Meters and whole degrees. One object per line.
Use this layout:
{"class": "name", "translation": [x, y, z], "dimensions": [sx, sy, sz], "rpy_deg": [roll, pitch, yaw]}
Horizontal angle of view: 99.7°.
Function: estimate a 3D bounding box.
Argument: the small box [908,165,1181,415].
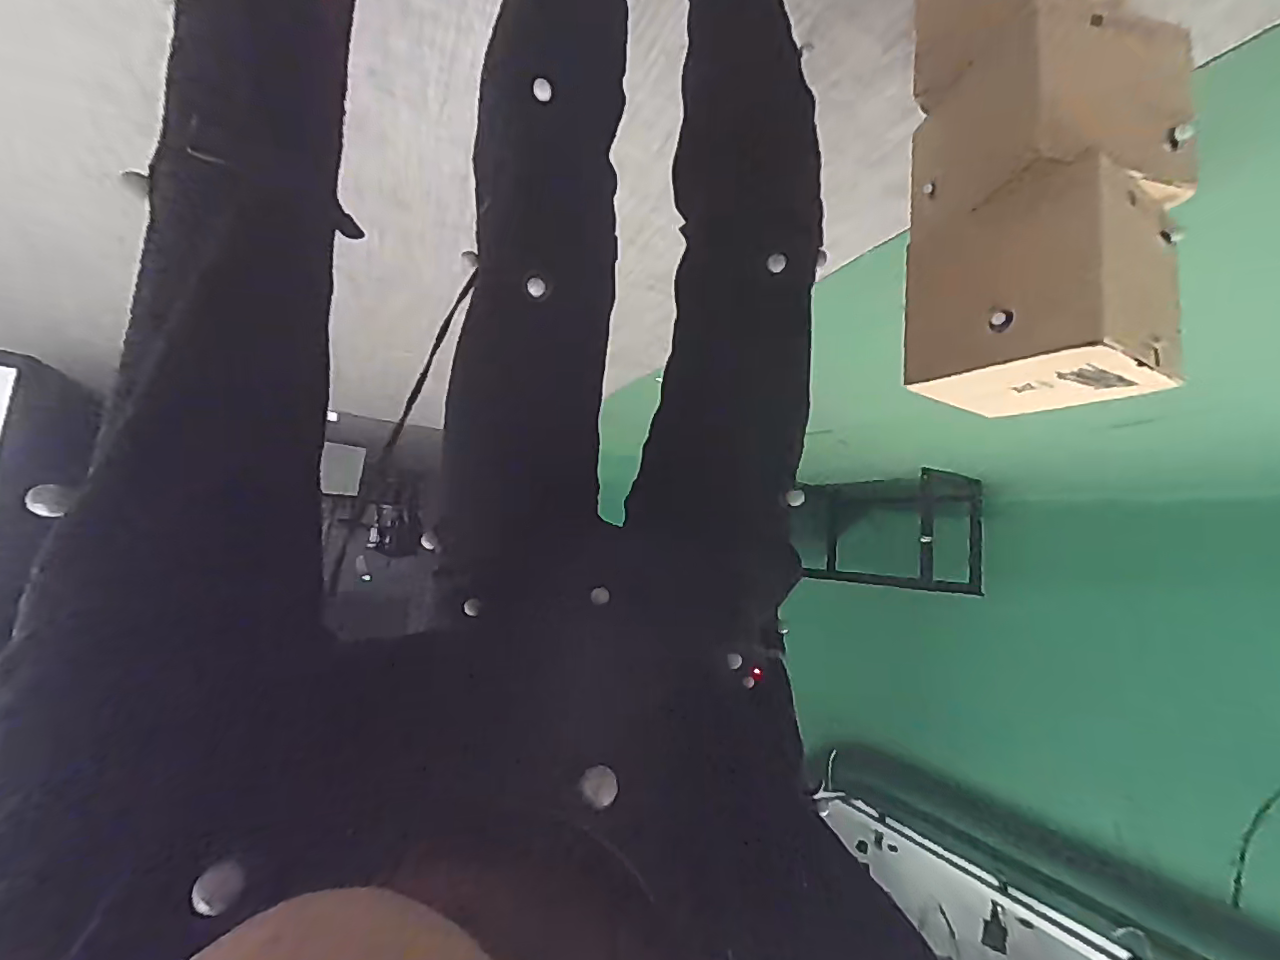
{"class": "small box", "translation": [0.399, -0.174, 0.548], "dimensions": [0.168, 0.176, 0.179], "rpy_deg": [9, 173, -29]}
